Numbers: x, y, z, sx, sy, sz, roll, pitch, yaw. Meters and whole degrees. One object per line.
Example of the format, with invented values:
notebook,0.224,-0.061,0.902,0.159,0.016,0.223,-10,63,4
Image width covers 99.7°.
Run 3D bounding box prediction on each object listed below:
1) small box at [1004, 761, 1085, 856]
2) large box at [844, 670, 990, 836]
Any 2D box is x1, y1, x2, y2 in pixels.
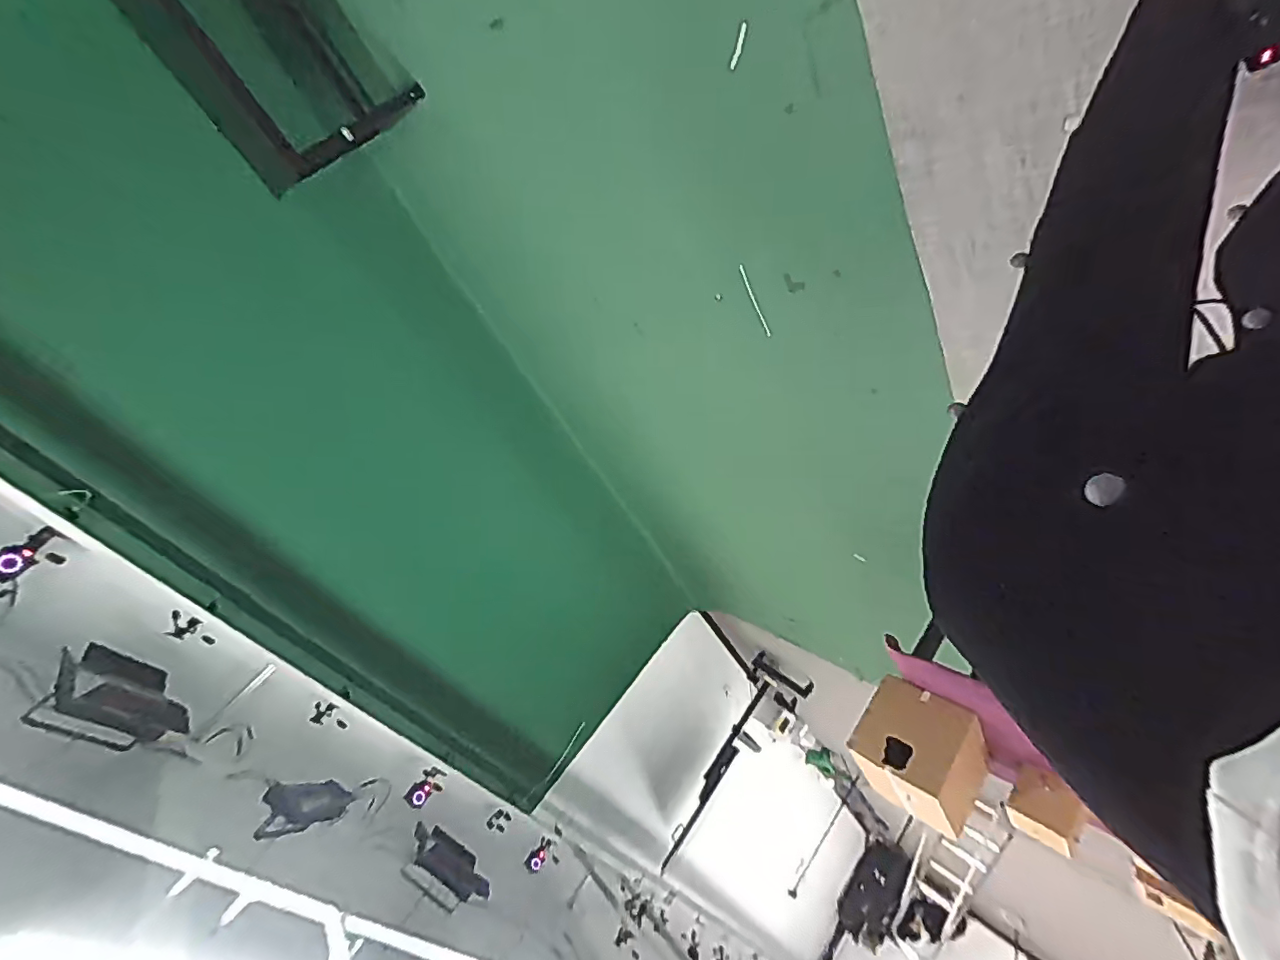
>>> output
small box,1.302,1.048,1.736,0.168,0.176,0.179,14,146,51
large box,0.994,0.961,1.923,0.320,0.320,0.408,13,145,50
